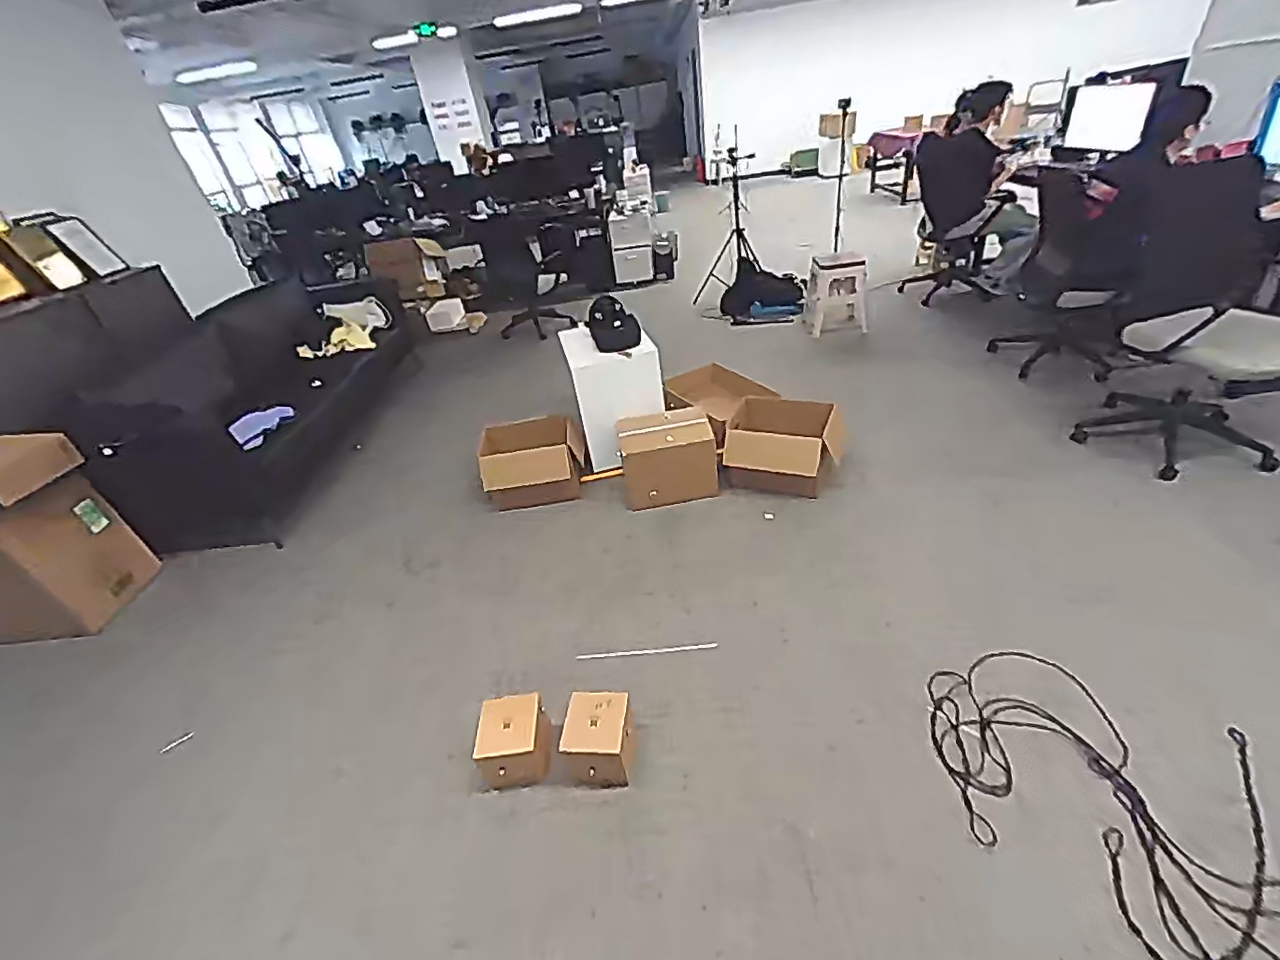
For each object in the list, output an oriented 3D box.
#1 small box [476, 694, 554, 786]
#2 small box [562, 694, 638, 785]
[{"bbox_3d":[-0.345,0.742,1.531,0.168,0.176,0.179,-9,34,1],"label":"small box"},{"bbox_3d":[-0.102,0.719,1.499,0.168,0.176,0.179,-3,35,10],"label":"small box"}]
